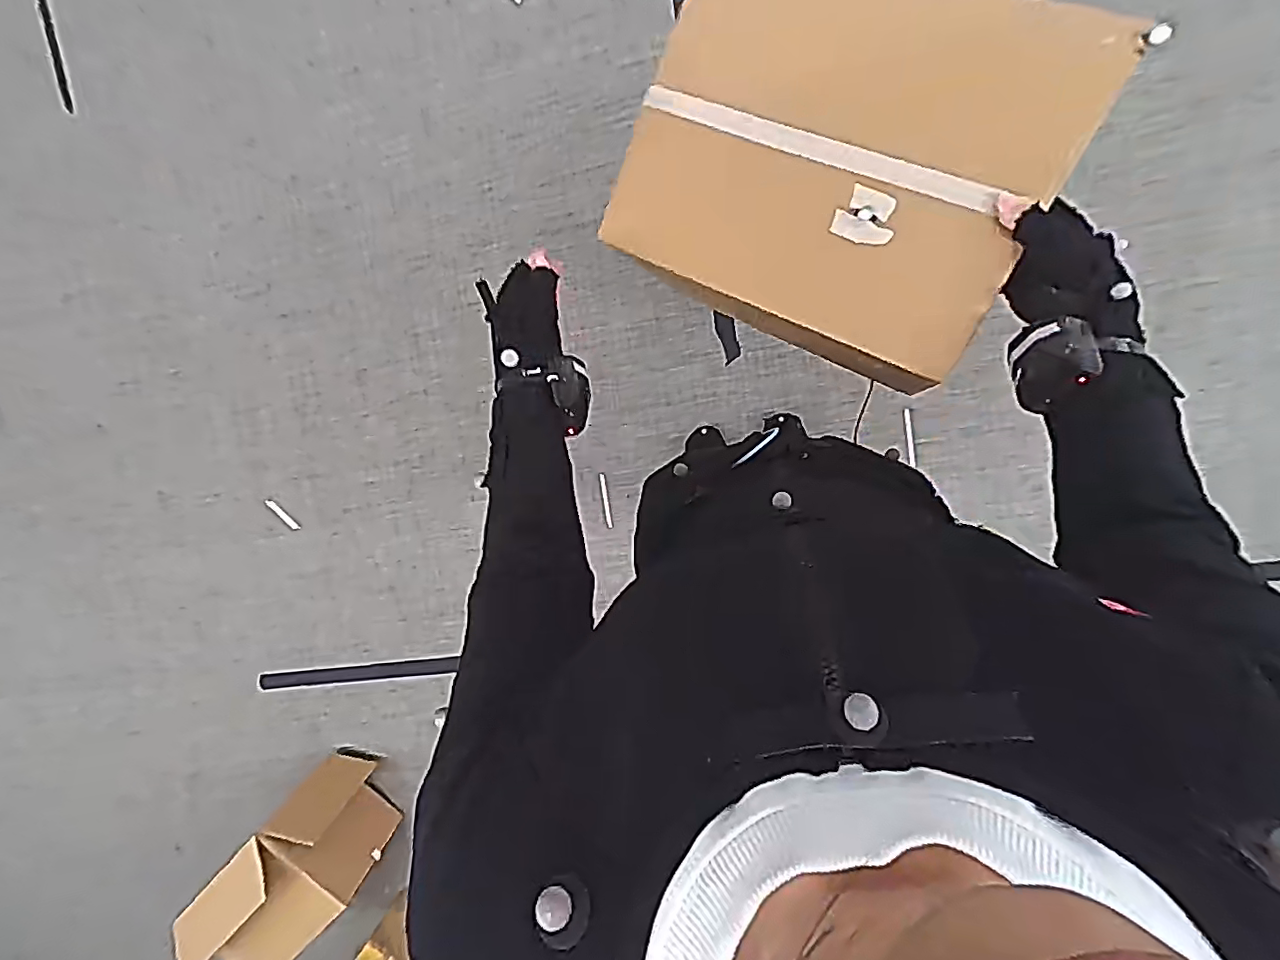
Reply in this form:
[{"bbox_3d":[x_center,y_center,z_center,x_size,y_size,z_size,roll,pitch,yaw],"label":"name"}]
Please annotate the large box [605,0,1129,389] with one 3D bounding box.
[{"bbox_3d":[0.233,-0.334,0.677,0.408,0.320,0.320,27,106,15],"label":"large box"}]
